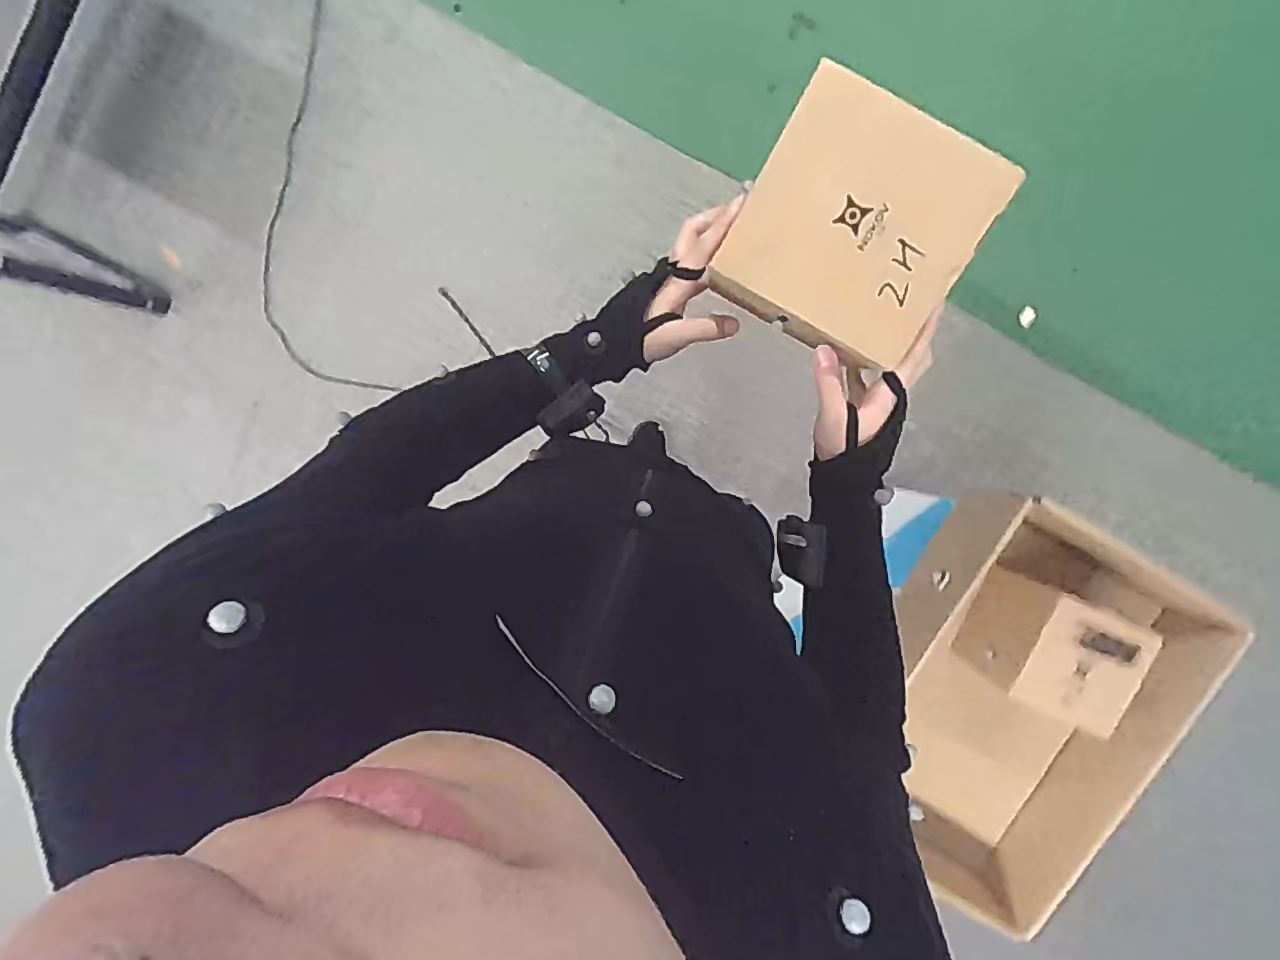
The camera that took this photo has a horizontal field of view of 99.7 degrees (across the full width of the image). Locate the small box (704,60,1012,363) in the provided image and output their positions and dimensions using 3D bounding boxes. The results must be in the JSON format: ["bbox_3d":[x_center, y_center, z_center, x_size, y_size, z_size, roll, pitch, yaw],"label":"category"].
[{"bbox_3d":[0.173,-0.220,0.496,0.179,0.176,0.168,29,106,-1],"label":"small box"}]
